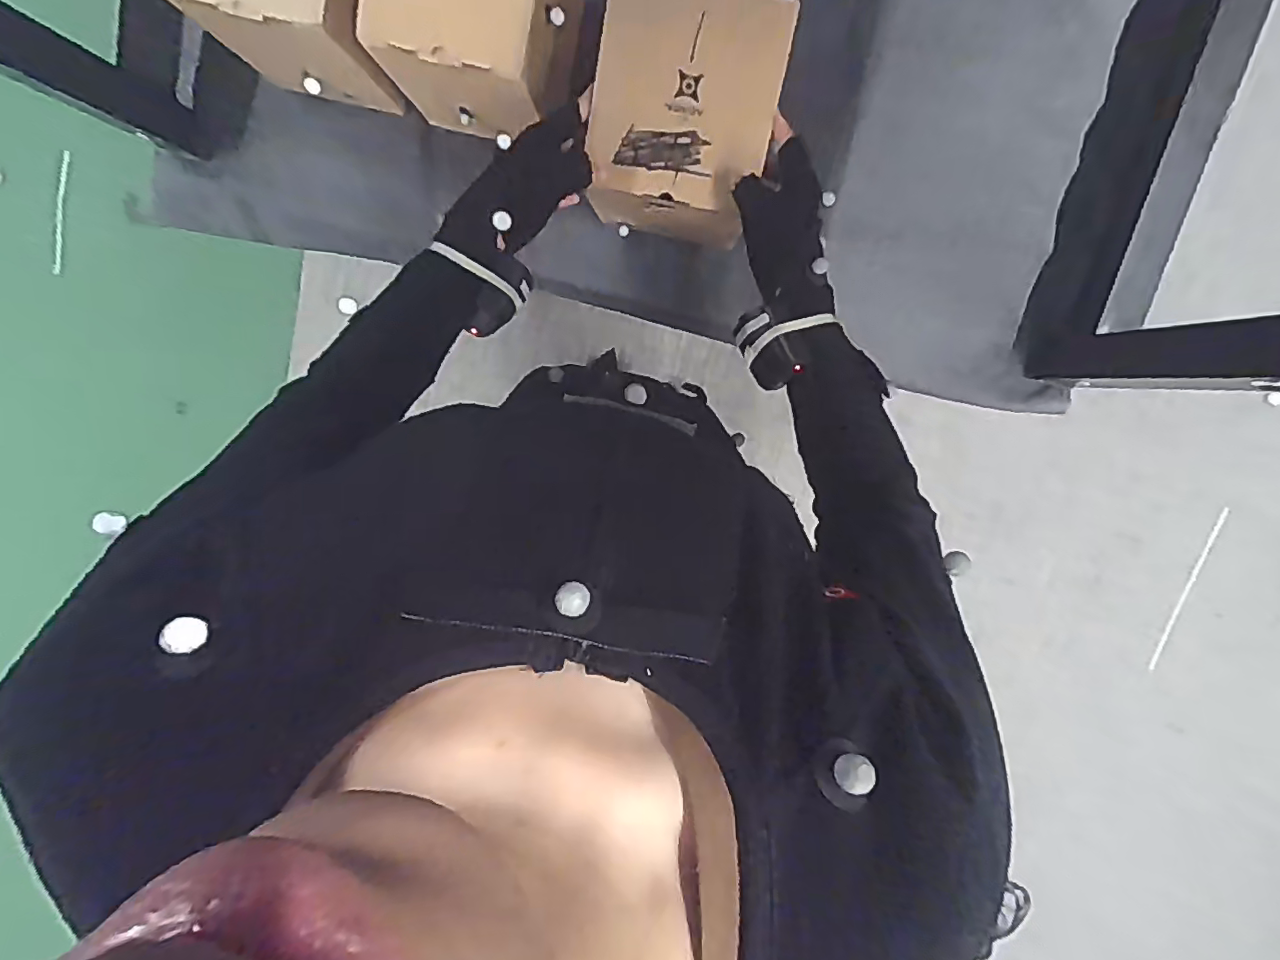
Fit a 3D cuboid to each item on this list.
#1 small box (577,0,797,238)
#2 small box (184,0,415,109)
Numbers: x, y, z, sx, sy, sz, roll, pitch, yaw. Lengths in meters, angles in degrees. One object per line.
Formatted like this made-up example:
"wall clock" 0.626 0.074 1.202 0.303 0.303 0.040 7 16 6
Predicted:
"small box" 0.042 -0.363 0.552 0.168 0.176 0.179 11 104 0
"small box" -0.357 -0.541 0.571 0.168 0.176 0.179 13 100 1
